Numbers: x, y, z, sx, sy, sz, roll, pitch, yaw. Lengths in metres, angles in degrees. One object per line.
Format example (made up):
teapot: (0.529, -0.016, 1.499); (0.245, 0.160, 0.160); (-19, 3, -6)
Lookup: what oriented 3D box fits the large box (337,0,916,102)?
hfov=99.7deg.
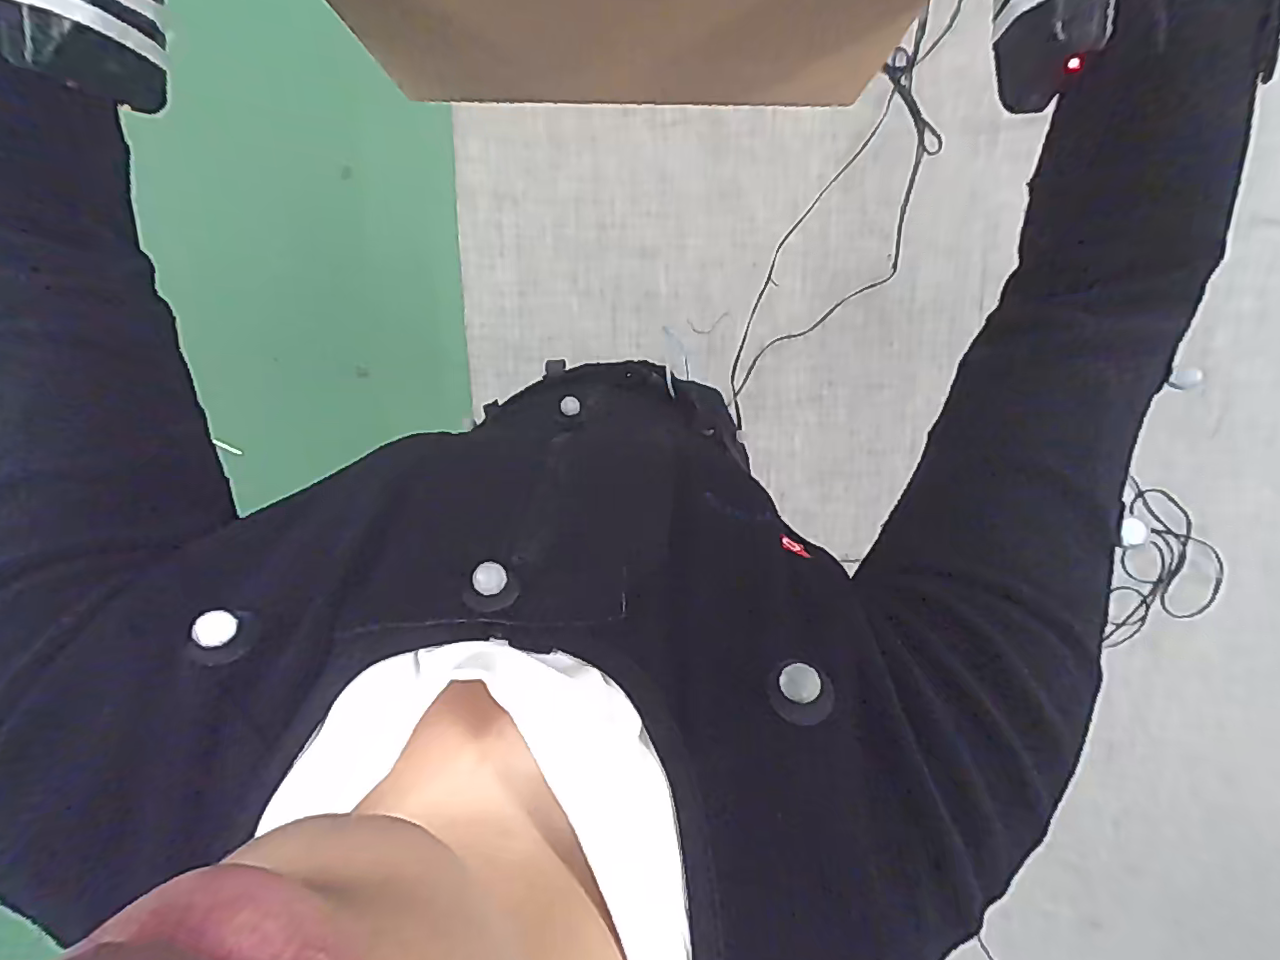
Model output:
large box: (-0.010, -0.465, 0.315); (0.408, 0.320, 0.320); (1, 100, 0)
